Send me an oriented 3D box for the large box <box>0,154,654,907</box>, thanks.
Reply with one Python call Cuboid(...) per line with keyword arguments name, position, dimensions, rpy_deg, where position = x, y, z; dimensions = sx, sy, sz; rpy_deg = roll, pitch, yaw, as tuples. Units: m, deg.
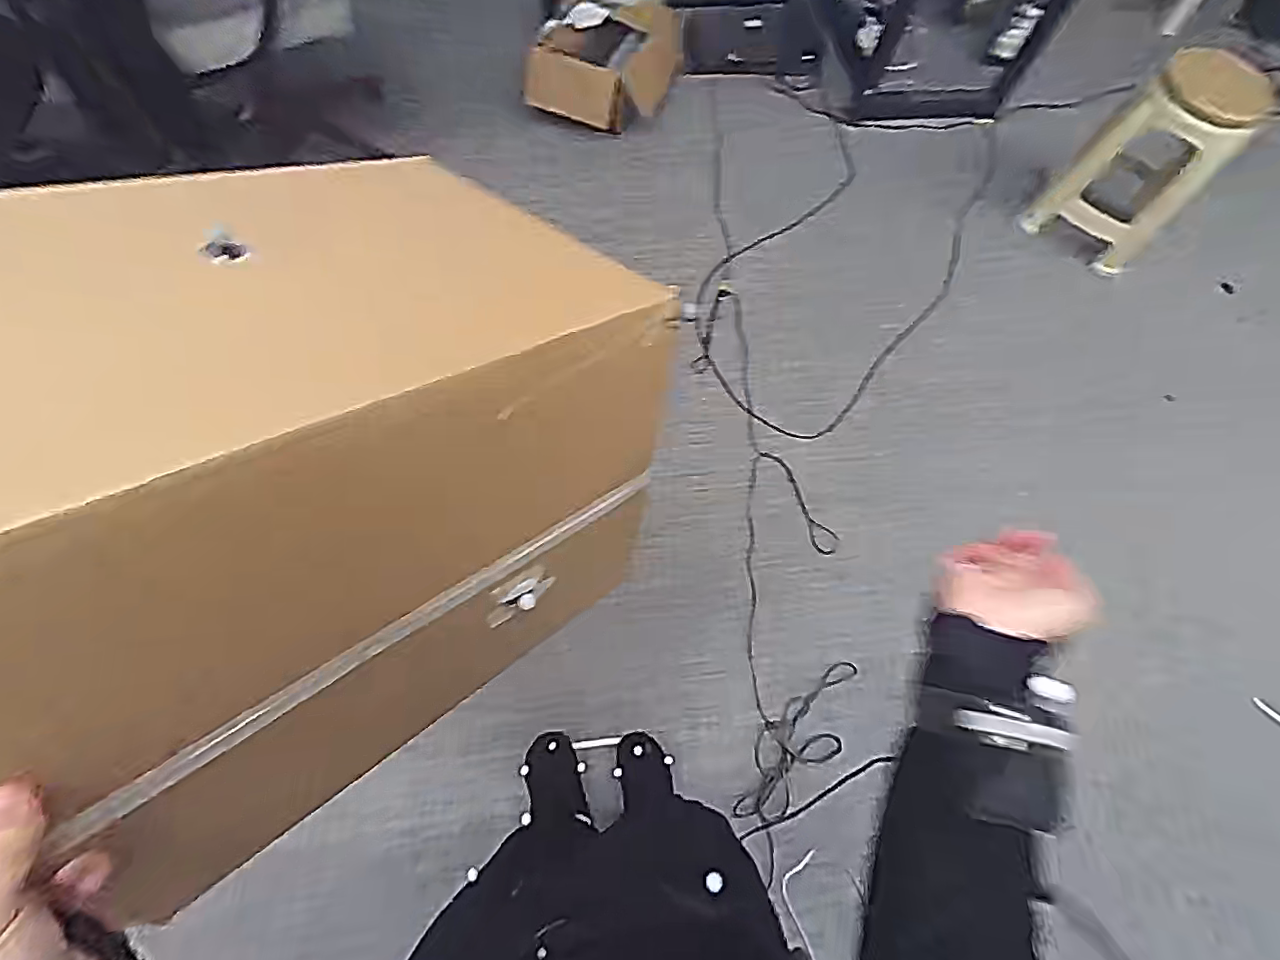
Cuboid(name="large box", position=(-0.250, -0.015, 0.401), dimensions=(0.320, 0.320, 0.408), rpy_deg=(38, 50, 25))
